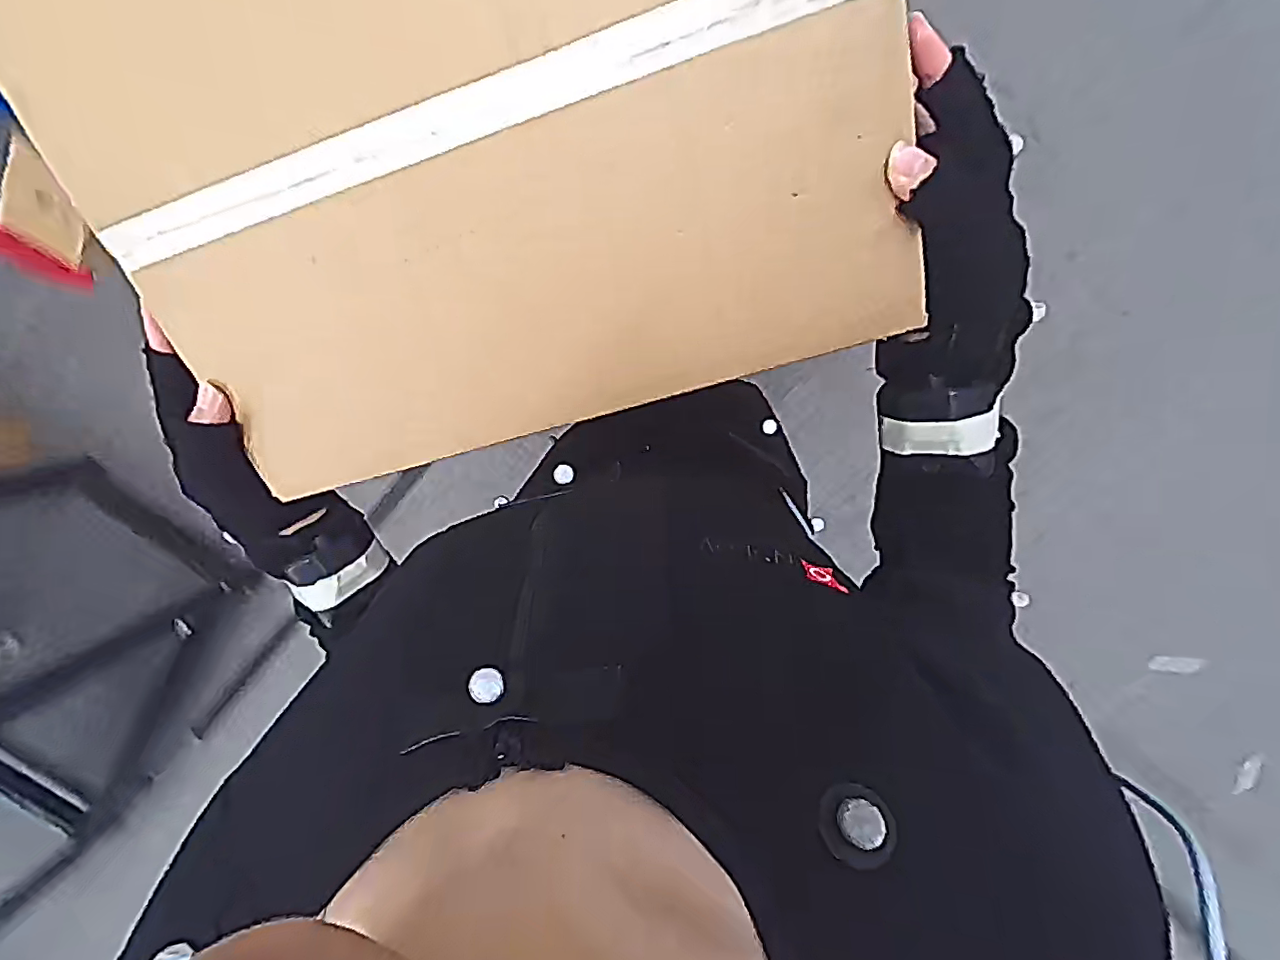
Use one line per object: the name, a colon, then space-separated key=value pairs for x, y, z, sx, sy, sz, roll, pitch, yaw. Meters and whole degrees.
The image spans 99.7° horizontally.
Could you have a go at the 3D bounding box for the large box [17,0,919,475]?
large box: x=-0.072 y=-0.243 z=0.403 sx=0.408 sy=0.320 sz=0.320 roll=-13 pitch=115 yaw=9
